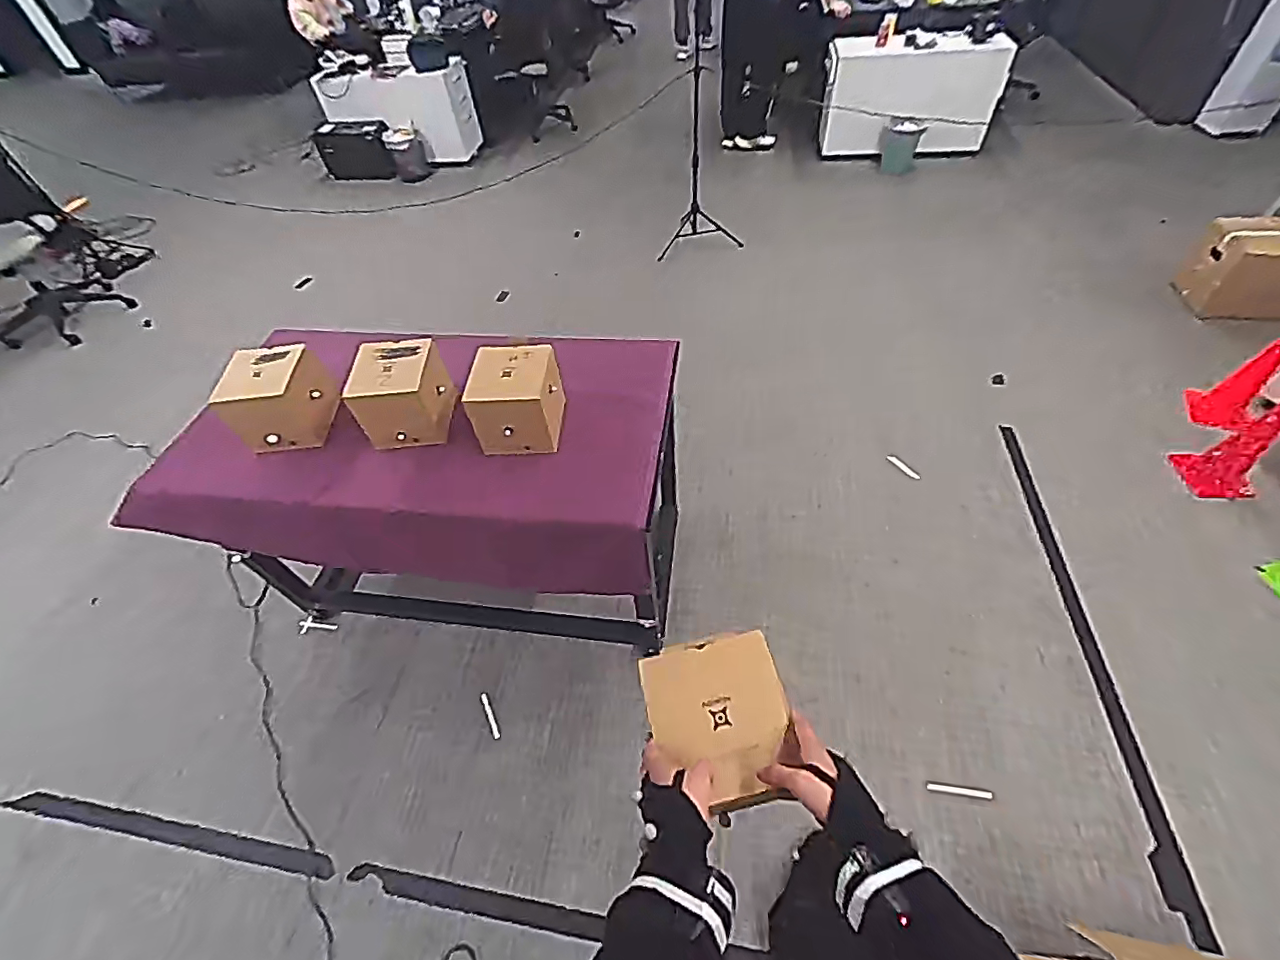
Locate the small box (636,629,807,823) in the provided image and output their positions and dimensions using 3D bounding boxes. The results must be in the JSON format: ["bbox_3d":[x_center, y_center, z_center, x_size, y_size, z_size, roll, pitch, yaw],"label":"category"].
[{"bbox_3d":[0.096,0.323,0.705,0.168,0.176,0.179,-13,53,-3],"label":"small box"}]

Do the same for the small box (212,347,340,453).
[{"bbox_3d":[-0.839,-0.186,1.272,0.168,0.176,0.179,-7,52,0],"label":"small box"}]

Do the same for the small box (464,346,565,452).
[{"bbox_3d":[-0.269,-0.176,1.207,0.168,0.176,0.179,-1,51,5],"label":"small box"}]
